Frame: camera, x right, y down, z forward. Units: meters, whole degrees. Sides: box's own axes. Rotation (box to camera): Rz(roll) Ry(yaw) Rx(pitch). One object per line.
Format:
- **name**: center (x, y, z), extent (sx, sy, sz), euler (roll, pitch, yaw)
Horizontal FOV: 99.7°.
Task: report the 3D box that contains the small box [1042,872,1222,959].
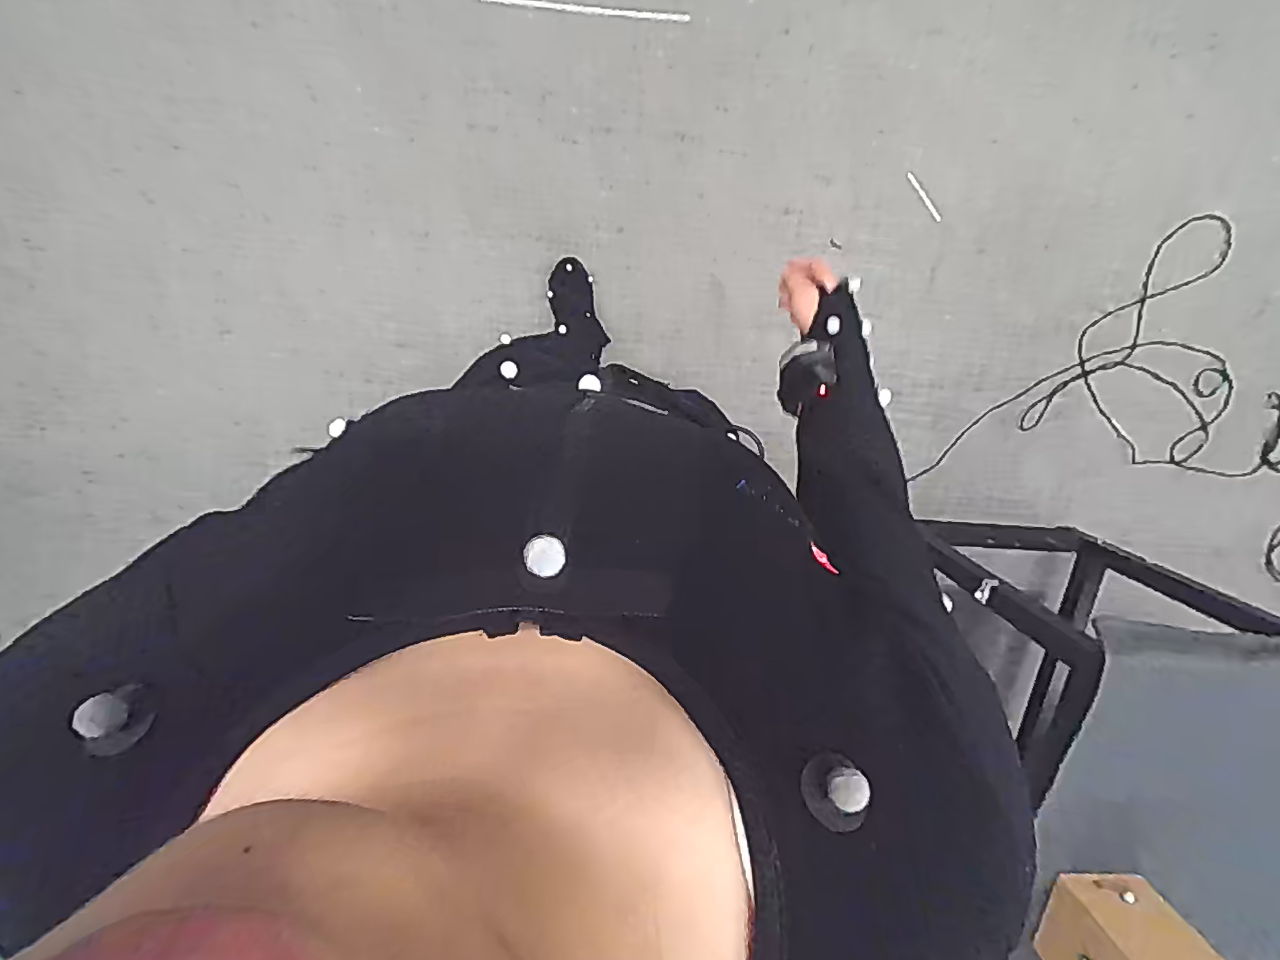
- **small box**: center (0.834, 0.815, 0.918), extent (0.168, 0.176, 0.179), euler (4, 104, -6)
